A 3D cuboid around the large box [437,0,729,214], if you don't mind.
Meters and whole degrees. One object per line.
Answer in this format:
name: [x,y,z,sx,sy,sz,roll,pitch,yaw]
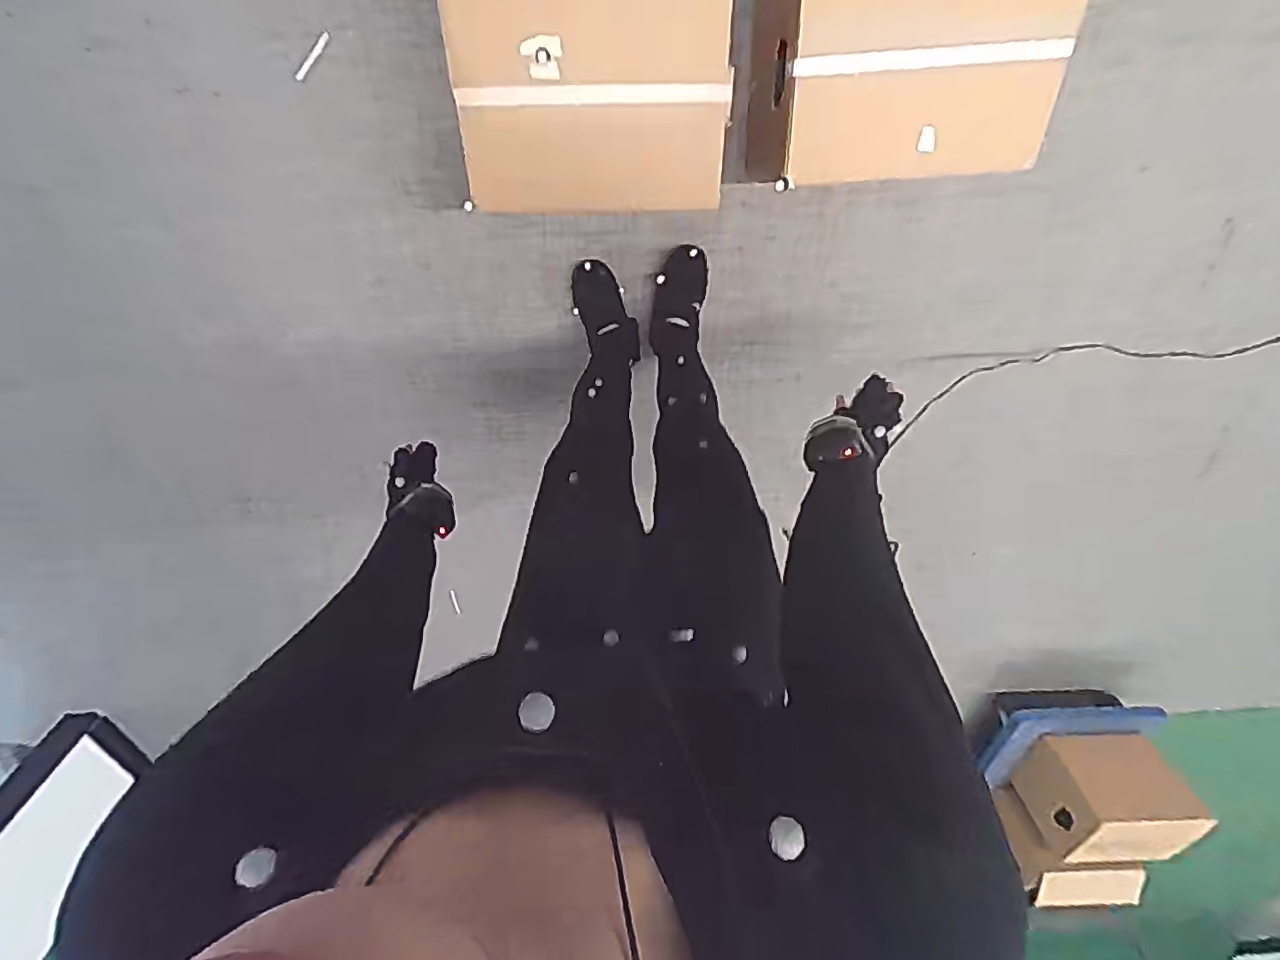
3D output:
large box: [-0.076,-0.648,0.914,0.408,0.320,0.320,-1,123,0]
